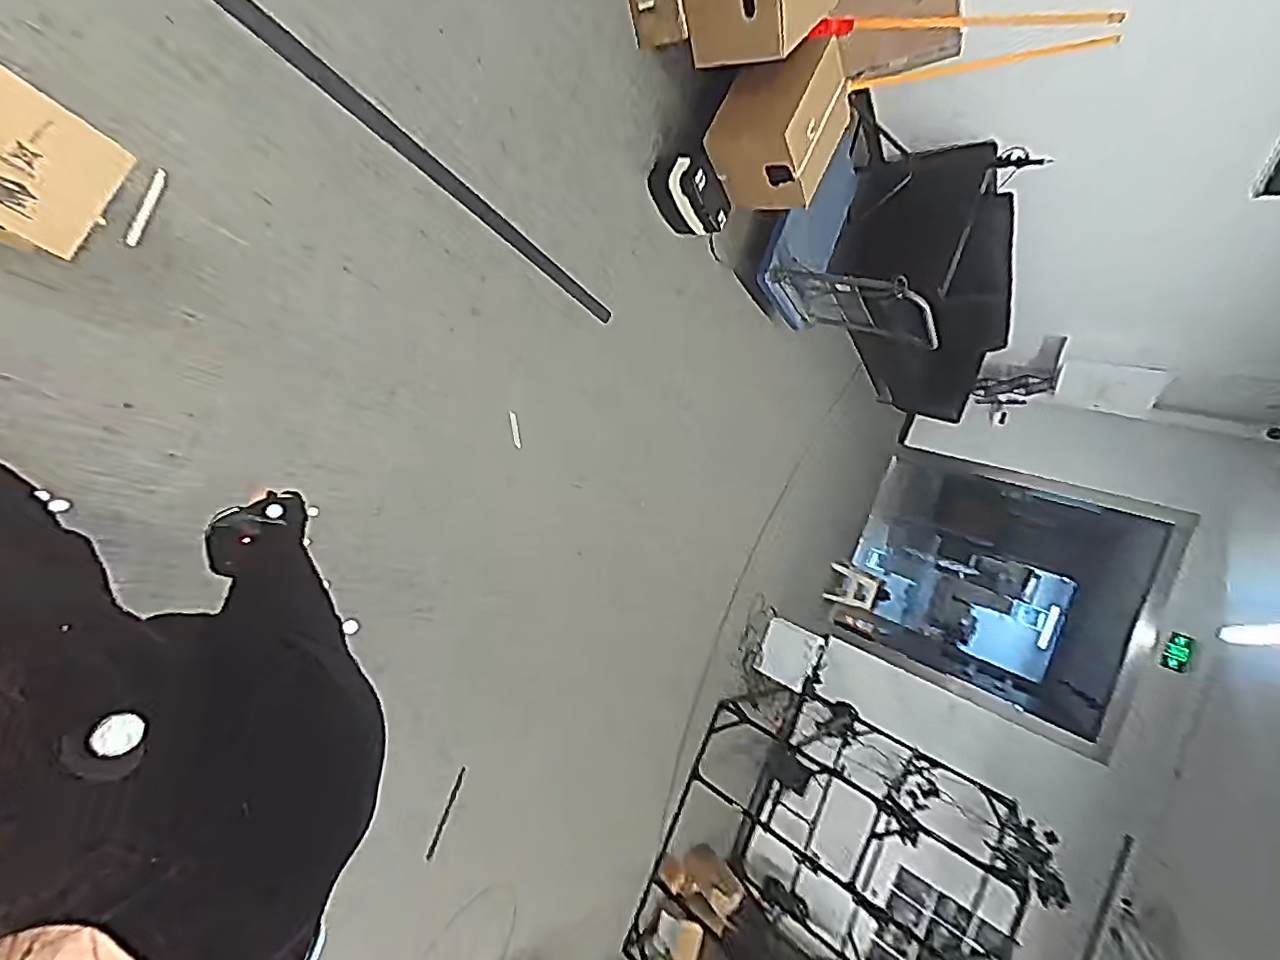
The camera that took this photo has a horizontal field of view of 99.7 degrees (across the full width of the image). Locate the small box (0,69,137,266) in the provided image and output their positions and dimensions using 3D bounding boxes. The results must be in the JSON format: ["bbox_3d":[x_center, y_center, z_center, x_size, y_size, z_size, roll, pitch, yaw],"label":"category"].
[{"bbox_3d":[-0.828,-0.411,0.715,0.168,0.176,0.179,37,76,-54],"label":"small box"}]
